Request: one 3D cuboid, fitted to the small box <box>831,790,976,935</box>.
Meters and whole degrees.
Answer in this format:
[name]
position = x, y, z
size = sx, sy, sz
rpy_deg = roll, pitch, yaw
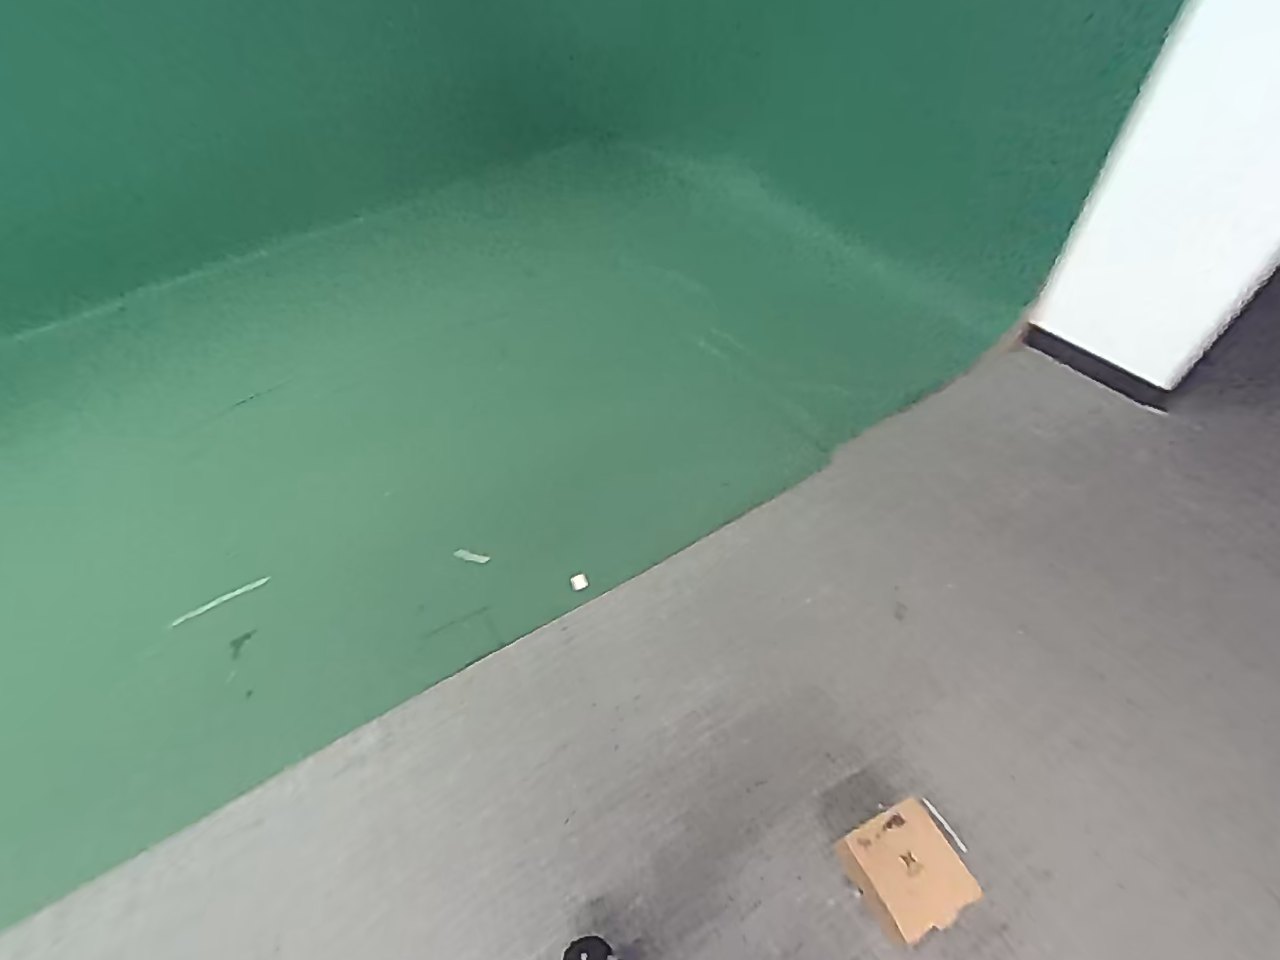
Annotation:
[small box]
position = 0.502, 0.745, 1.058
size = 0.168, 0.176, 0.179
rpy_deg = -23, 52, -9
